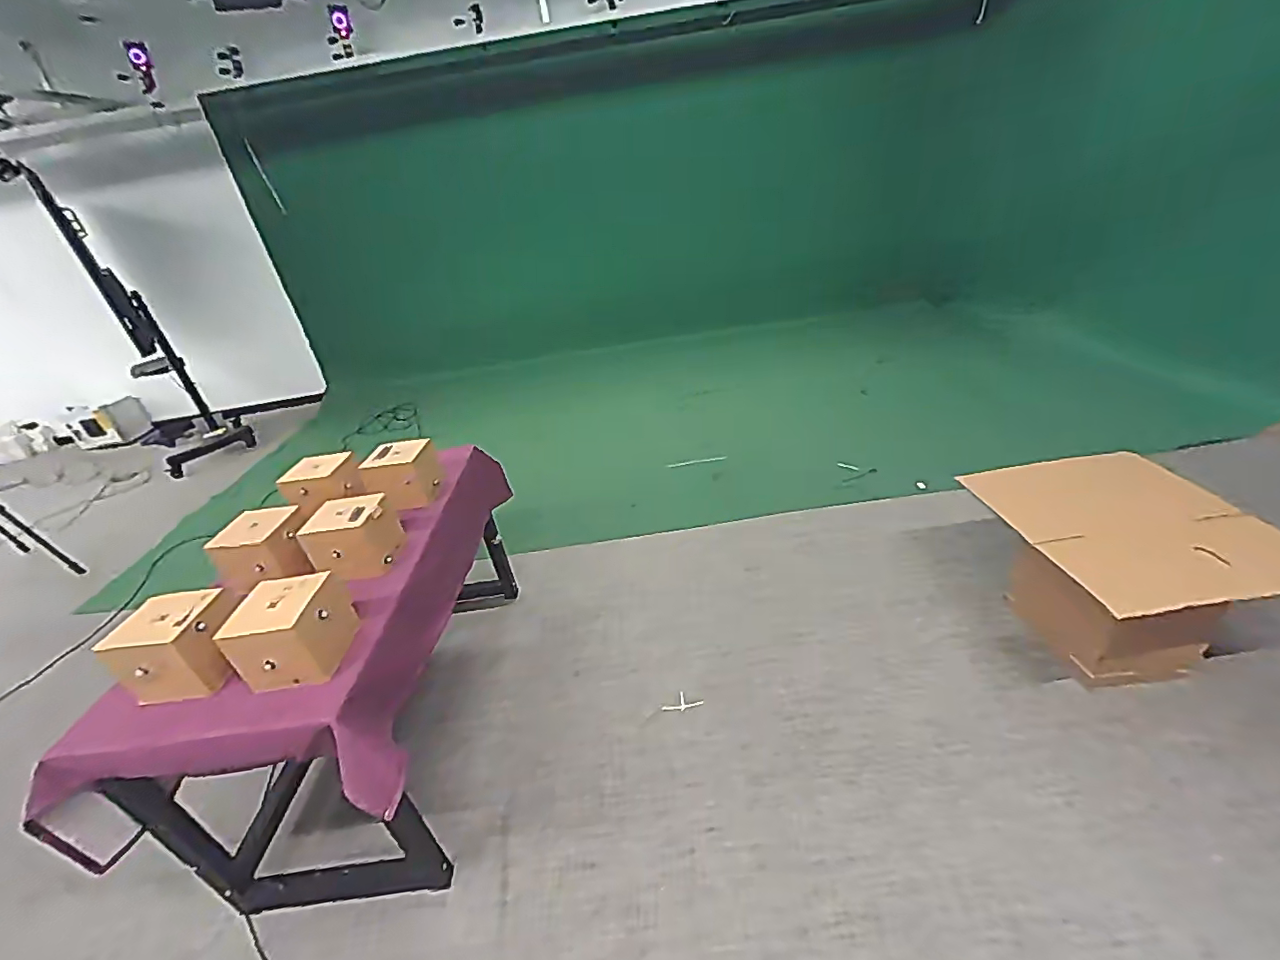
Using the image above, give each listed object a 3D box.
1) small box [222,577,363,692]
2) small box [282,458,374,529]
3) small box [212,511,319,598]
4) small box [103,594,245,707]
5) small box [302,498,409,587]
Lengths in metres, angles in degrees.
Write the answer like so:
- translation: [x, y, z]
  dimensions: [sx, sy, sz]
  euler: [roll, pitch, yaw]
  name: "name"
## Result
- translation: [-0.738, 0.340, 1.176]
  dimensions: [0.168, 0.176, 0.179]
  euler: [-9, 29, 3]
  name: "small box"
- translation: [-1.015, 0.048, 1.781]
  dimensions: [0.179, 0.176, 0.168]
  euler: [-8, 30, 6]
  name: "small box"
- translation: [-1.010, 0.211, 1.497]
  dimensions: [0.168, 0.176, 0.179]
  euler: [-7, 29, 5]
  name: "small box"
- translation: [-0.993, 0.379, 1.195]
  dimensions: [0.179, 0.176, 0.168]
  euler: [-9, 29, 4]
  name: "small box"
- translation: [-0.764, 0.173, 1.478]
  dimensions: [0.179, 0.176, 0.168]
  euler: [-9, 29, 5]
  name: "small box"
